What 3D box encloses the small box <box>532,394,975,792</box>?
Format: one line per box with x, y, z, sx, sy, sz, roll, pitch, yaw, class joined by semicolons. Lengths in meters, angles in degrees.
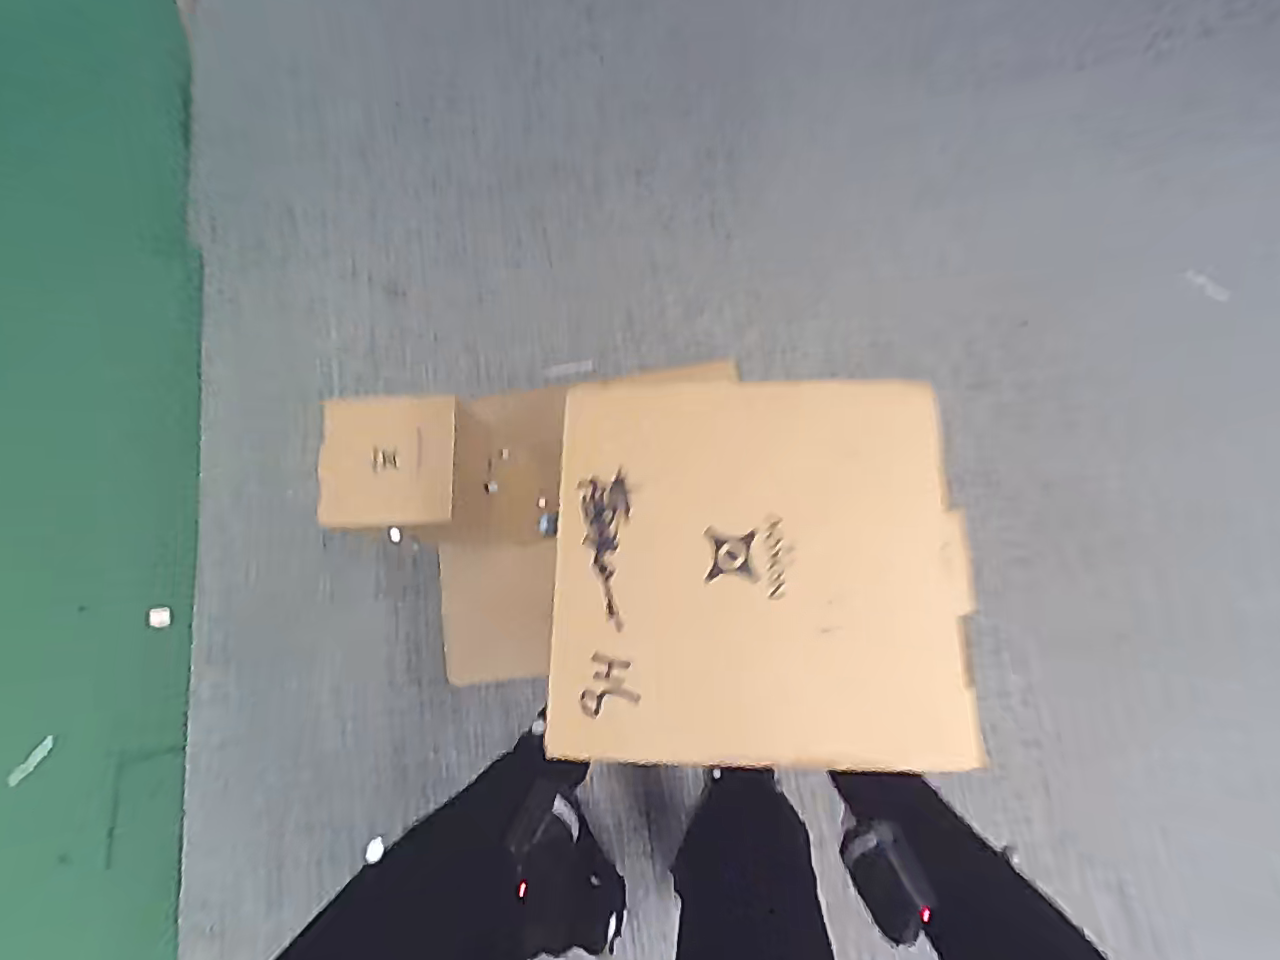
0.049;0.061;0.309;0.179;0.176;0.168;0;74;4;small box

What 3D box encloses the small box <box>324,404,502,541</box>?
-0.313;-0.002;0.775;0.179;0.176;0.168;-2;79;3;small box

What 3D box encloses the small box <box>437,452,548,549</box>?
-0.294;0.048;1.098;0.179;0.176;0.168;-5;78;3;small box
